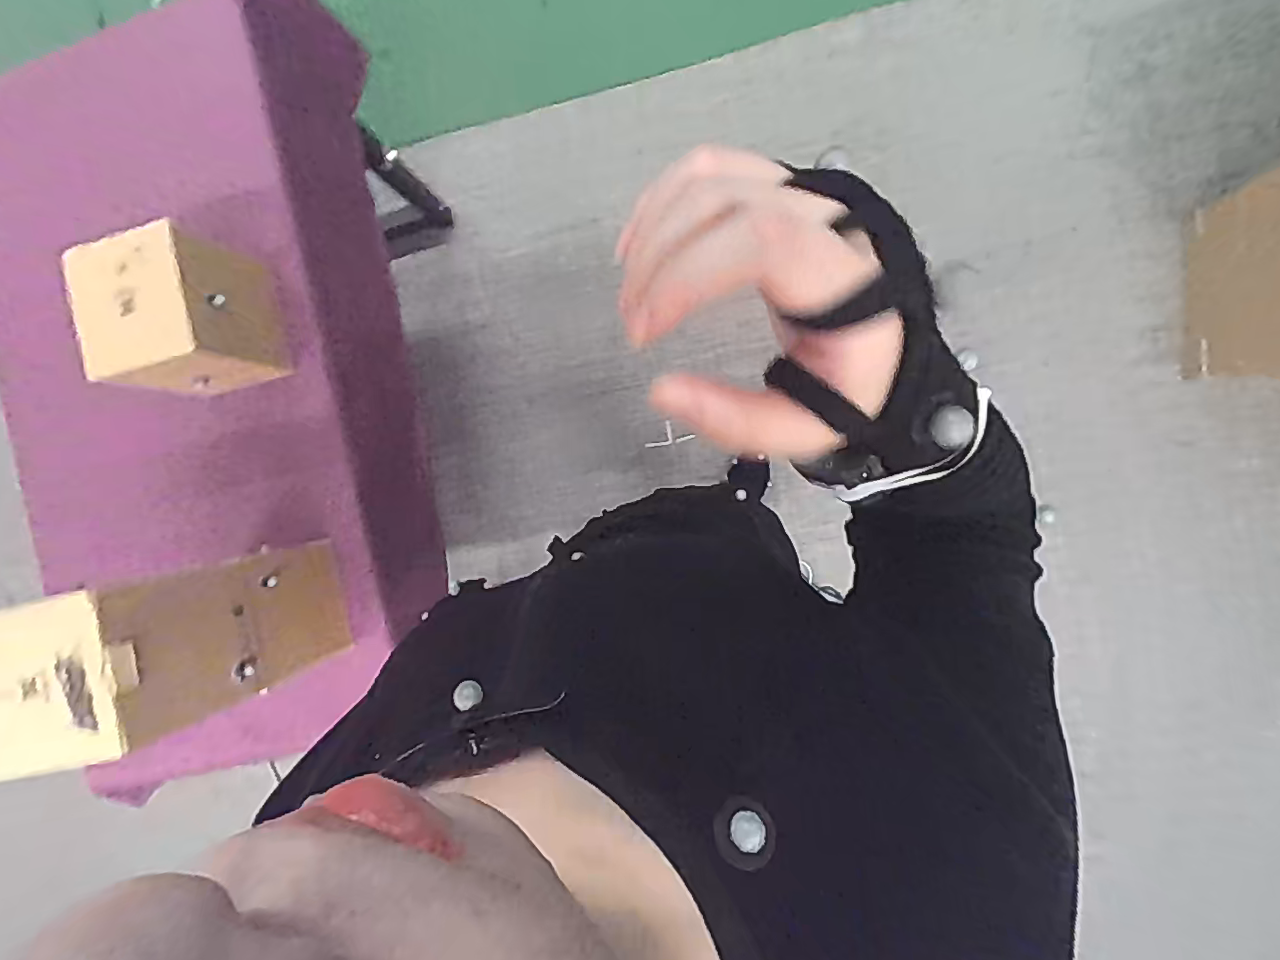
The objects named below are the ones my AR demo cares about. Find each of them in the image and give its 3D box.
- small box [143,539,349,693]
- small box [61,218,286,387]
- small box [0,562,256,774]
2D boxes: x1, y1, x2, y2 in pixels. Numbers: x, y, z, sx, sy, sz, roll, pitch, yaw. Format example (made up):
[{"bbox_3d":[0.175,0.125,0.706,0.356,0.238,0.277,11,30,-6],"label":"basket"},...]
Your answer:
[{"bbox_3d":[-0.553,0.195,0.775,0.168,0.176,0.179,-13,89,8],"label":"small box"},{"bbox_3d":[-0.647,-0.236,0.772,0.168,0.176,0.179,-11,90,7],"label":"small box"},{"bbox_3d":[-0.577,0.199,0.613,0.179,0.176,0.168,-13,89,10],"label":"small box"}]
